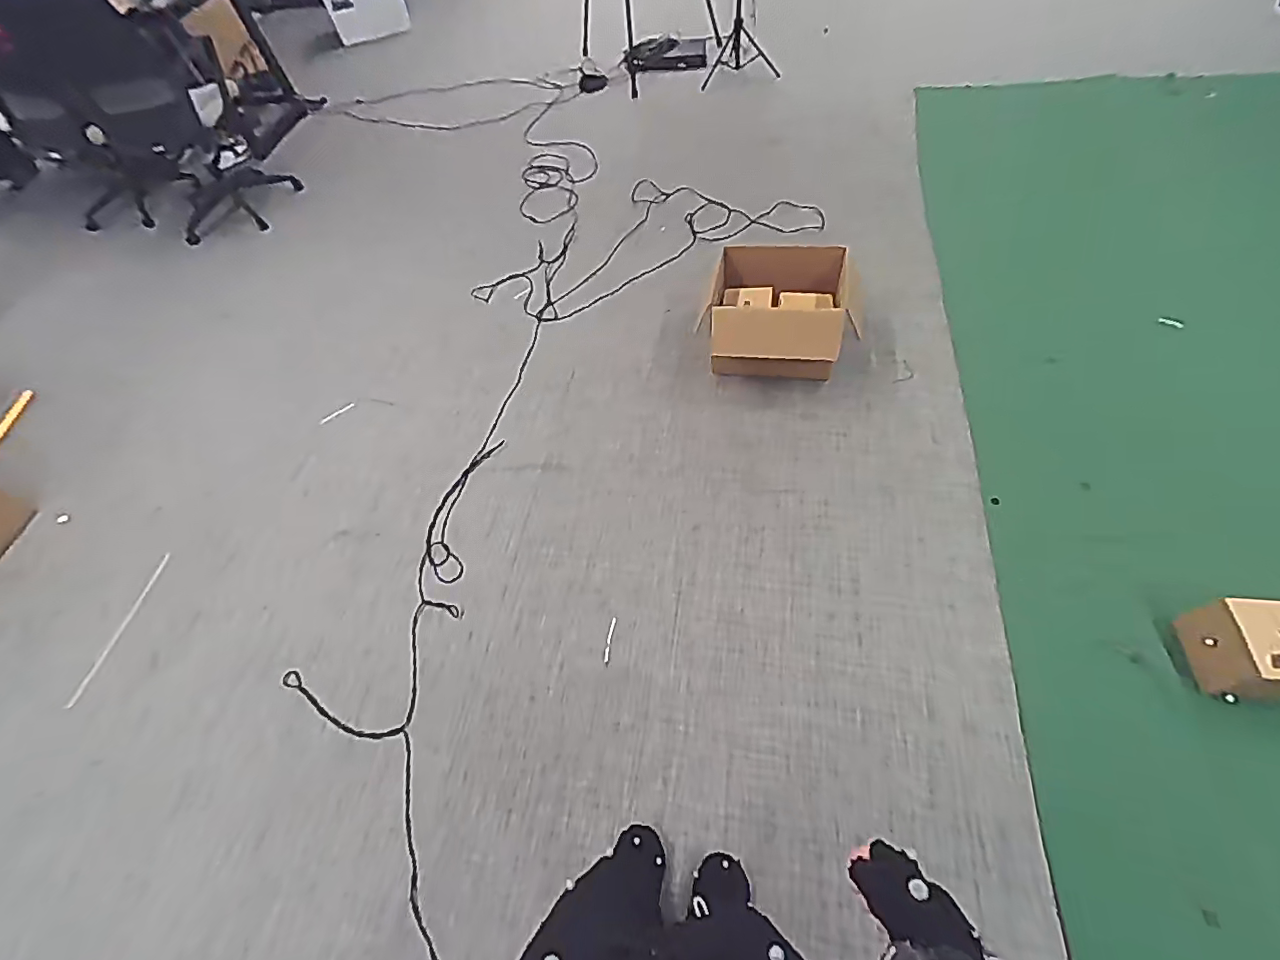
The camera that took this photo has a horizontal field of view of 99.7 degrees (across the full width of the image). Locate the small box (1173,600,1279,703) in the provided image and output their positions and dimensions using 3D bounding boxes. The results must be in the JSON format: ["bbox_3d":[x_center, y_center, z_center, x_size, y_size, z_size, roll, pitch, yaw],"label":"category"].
[{"bbox_3d":[1.353,0.382,1.193,0.168,0.176,0.179,3,57,9],"label":"small box"}]
